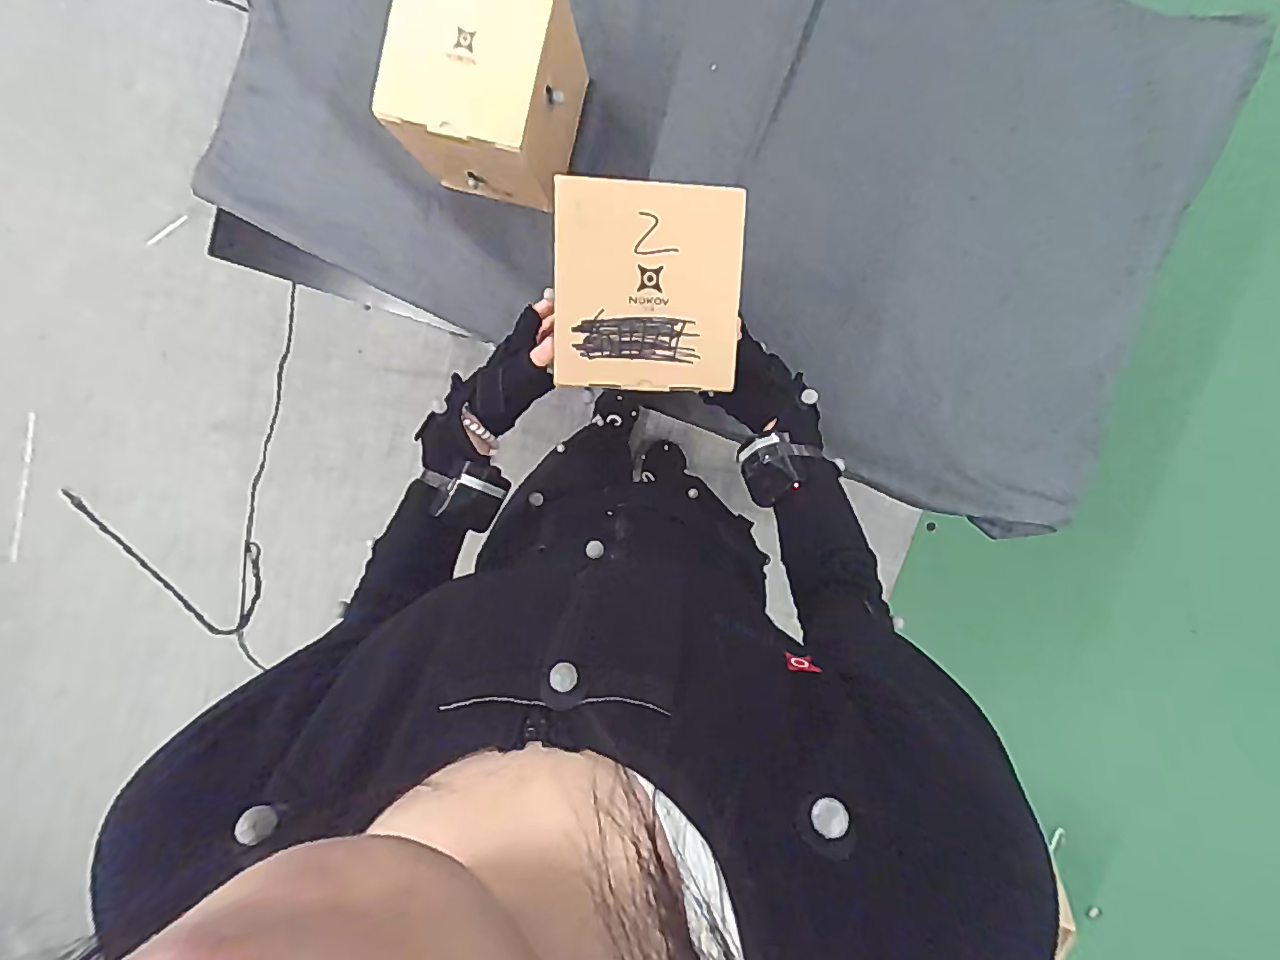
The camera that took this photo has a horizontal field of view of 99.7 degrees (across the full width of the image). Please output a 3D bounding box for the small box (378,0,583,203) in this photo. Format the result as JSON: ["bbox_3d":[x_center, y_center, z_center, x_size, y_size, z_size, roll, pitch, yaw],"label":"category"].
[{"bbox_3d":[-0.172,-0.462,0.635,0.168,0.176,0.179,16,98,2],"label":"small box"}]
